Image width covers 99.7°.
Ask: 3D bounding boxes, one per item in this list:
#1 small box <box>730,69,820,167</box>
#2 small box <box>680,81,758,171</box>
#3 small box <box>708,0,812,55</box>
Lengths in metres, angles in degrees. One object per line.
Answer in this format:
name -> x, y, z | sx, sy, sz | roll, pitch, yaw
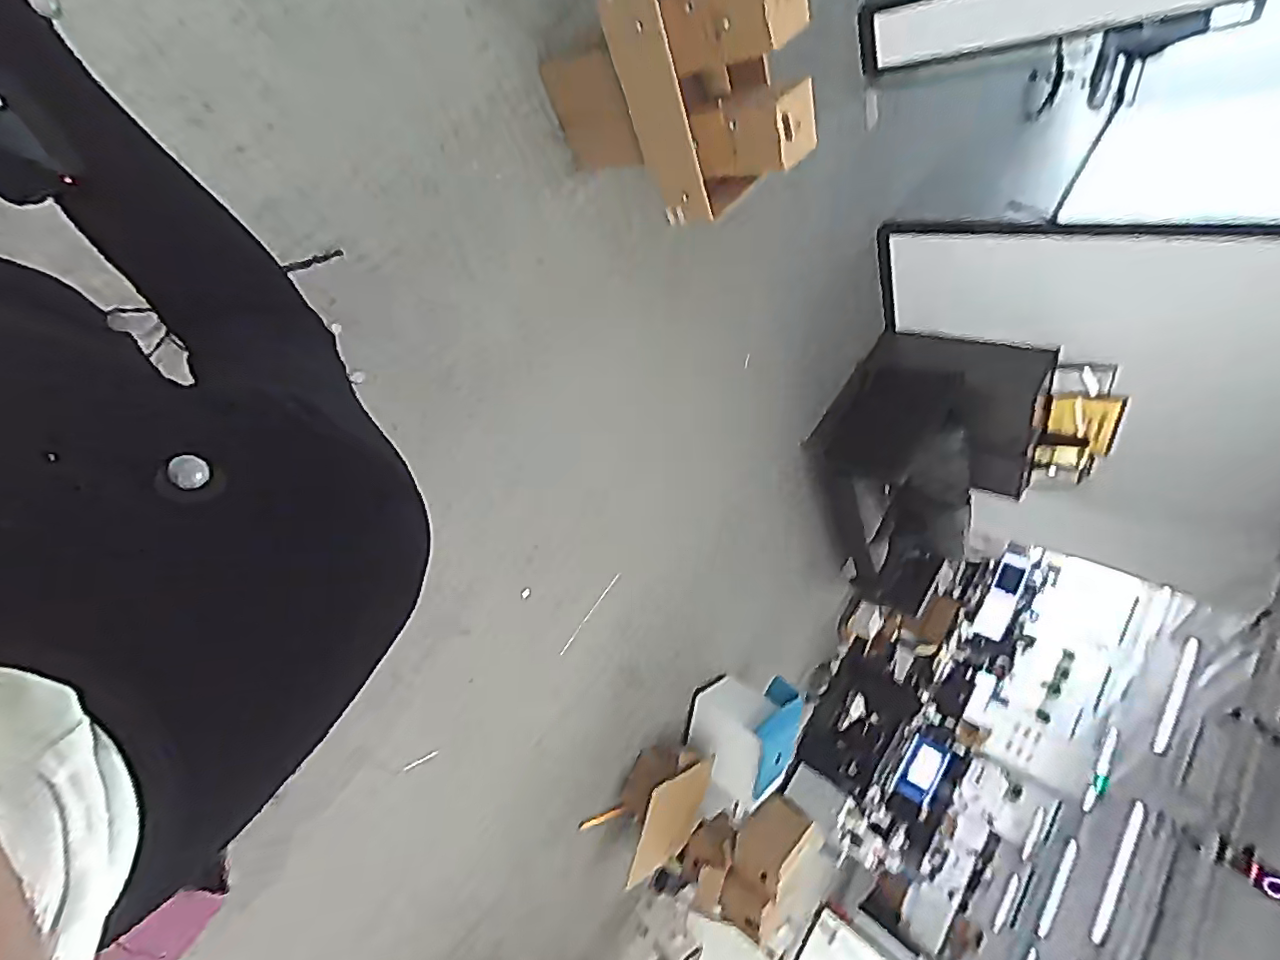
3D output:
small box -> 0.361, -0.972, 1.465 | 0.179, 0.176, 0.168 | -48, 137, -22
small box -> 0.244, -1.023, 1.569 | 0.179, 0.176, 0.168 | -47, 137, -21
small box -> 0.283, -1.156, 1.287 | 0.179, 0.176, 0.168 | -49, 137, -20
